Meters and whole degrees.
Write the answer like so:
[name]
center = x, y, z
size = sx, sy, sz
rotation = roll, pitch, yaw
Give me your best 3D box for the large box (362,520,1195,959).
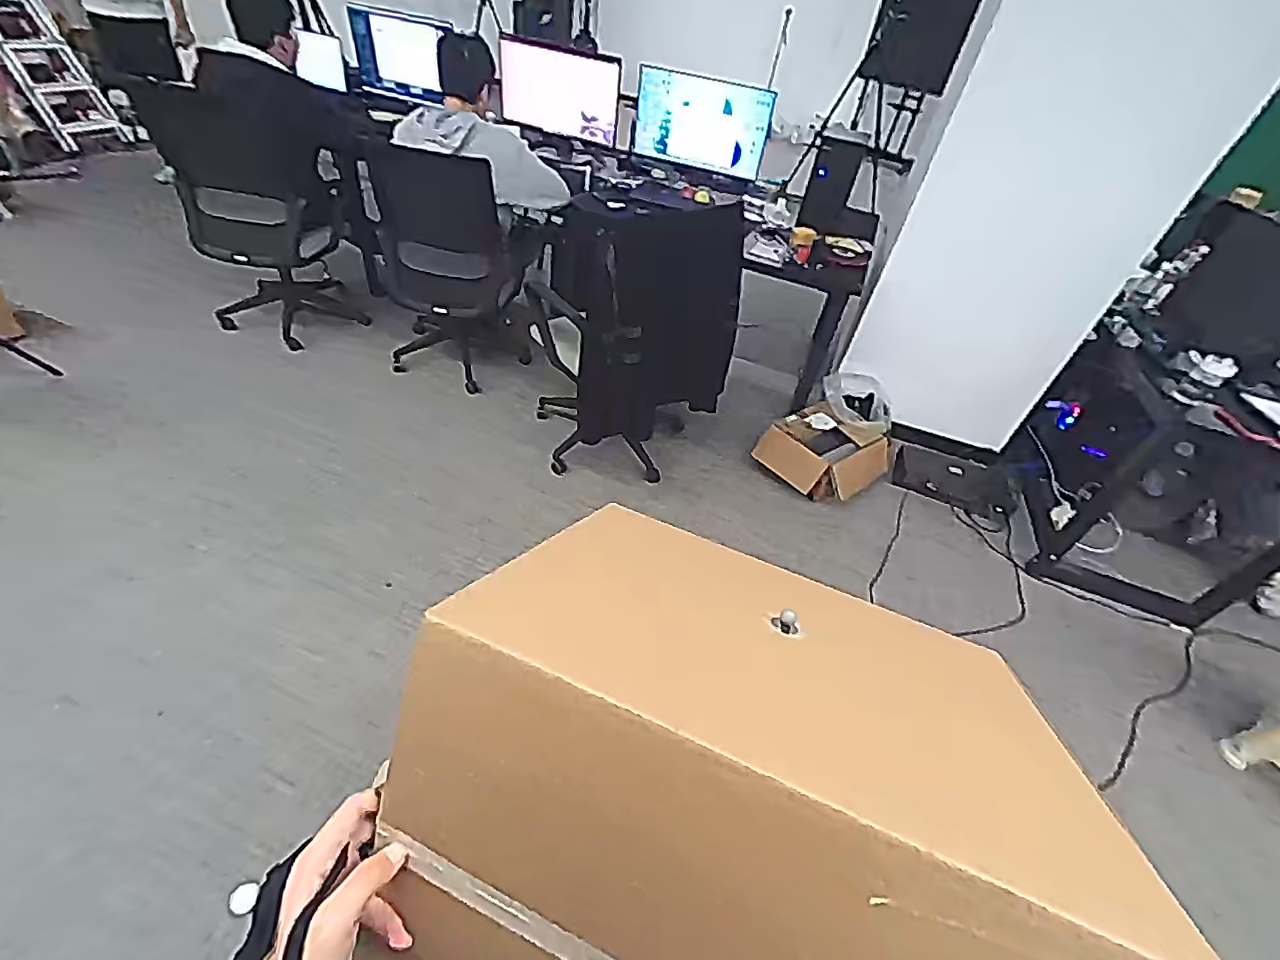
[large box]
center = 0.060, 0.264, 0.450
size = 0.408, 0.320, 0.320
rotation = 20, 15, 13
